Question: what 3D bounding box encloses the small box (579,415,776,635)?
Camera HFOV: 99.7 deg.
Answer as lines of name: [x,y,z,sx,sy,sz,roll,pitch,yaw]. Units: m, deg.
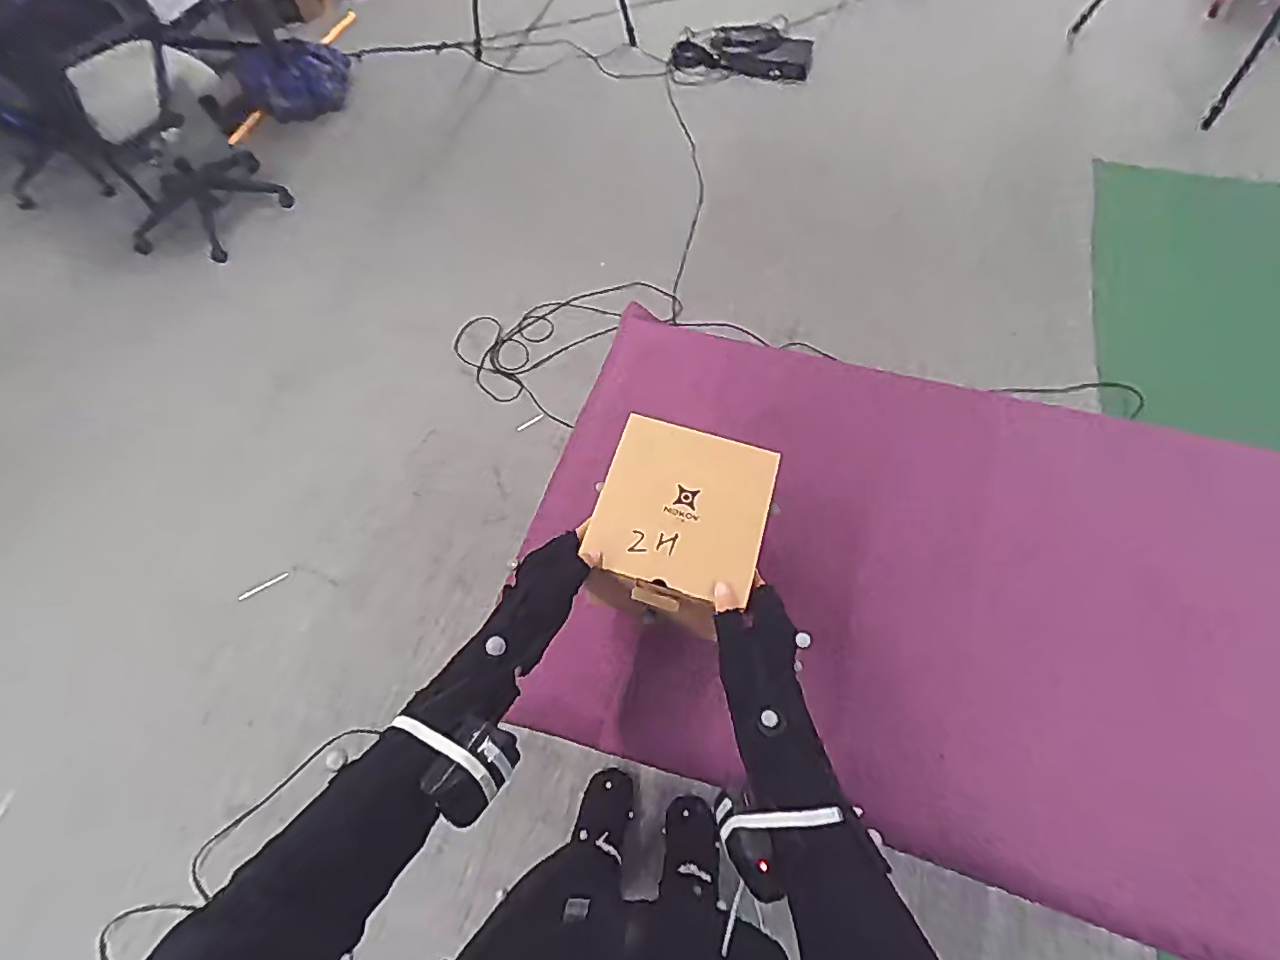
small box: [0.041,0.059,0.617,0.168,0.176,0.179,16,66,7]
